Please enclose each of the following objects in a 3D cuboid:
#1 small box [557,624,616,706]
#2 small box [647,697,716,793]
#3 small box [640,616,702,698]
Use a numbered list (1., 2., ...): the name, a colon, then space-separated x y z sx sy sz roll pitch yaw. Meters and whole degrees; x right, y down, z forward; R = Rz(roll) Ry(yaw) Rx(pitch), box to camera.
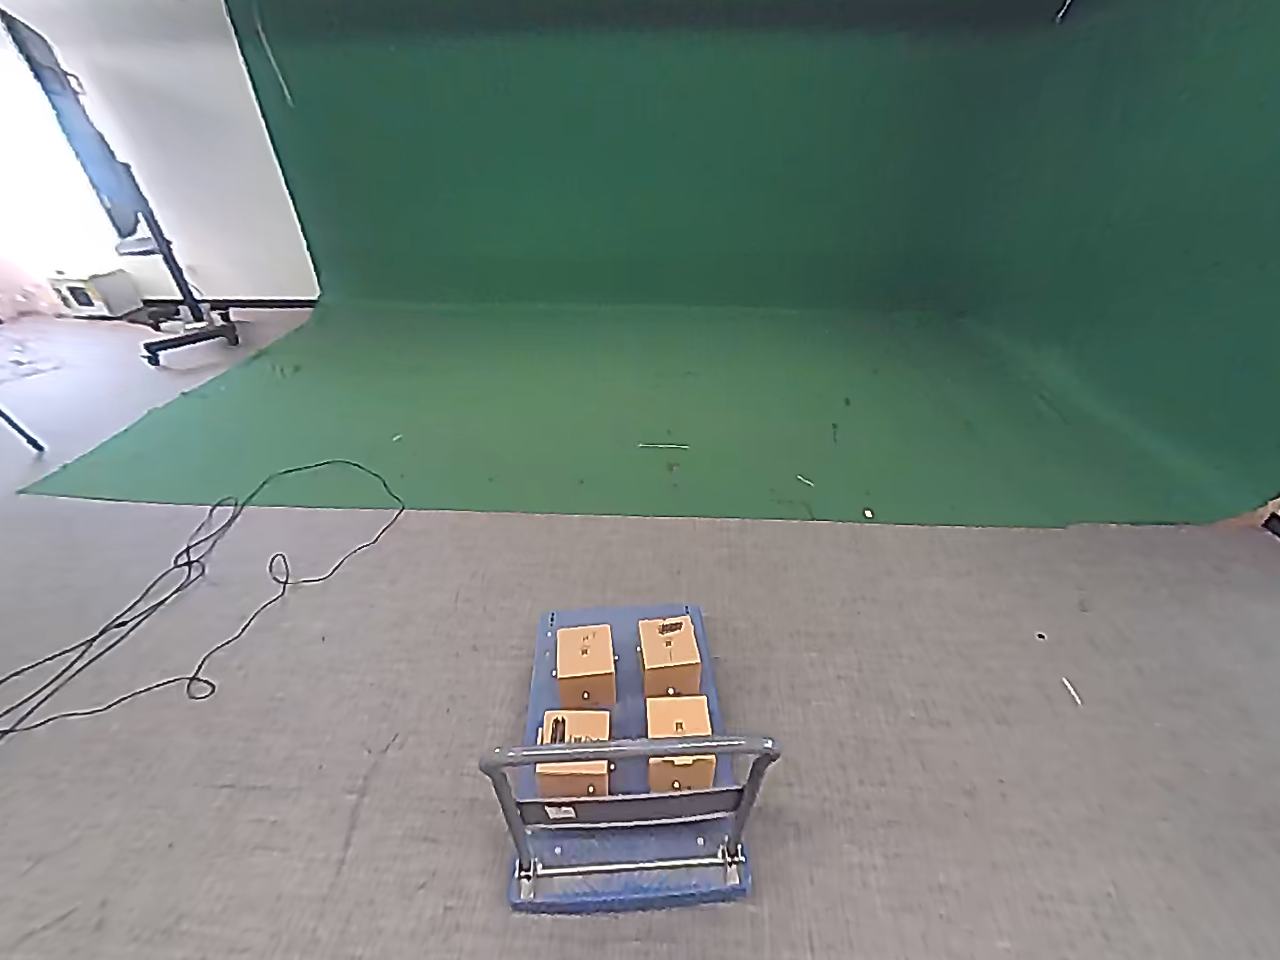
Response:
1. small box: -0.161 0.566 1.640 0.168 0.176 0.179 -3 36 -6
2. small box: 0.104 0.707 1.448 0.168 0.176 0.179 -1 37 -2
3. small box: 0.089 0.547 1.665 0.168 0.176 0.179 -5 37 -5
